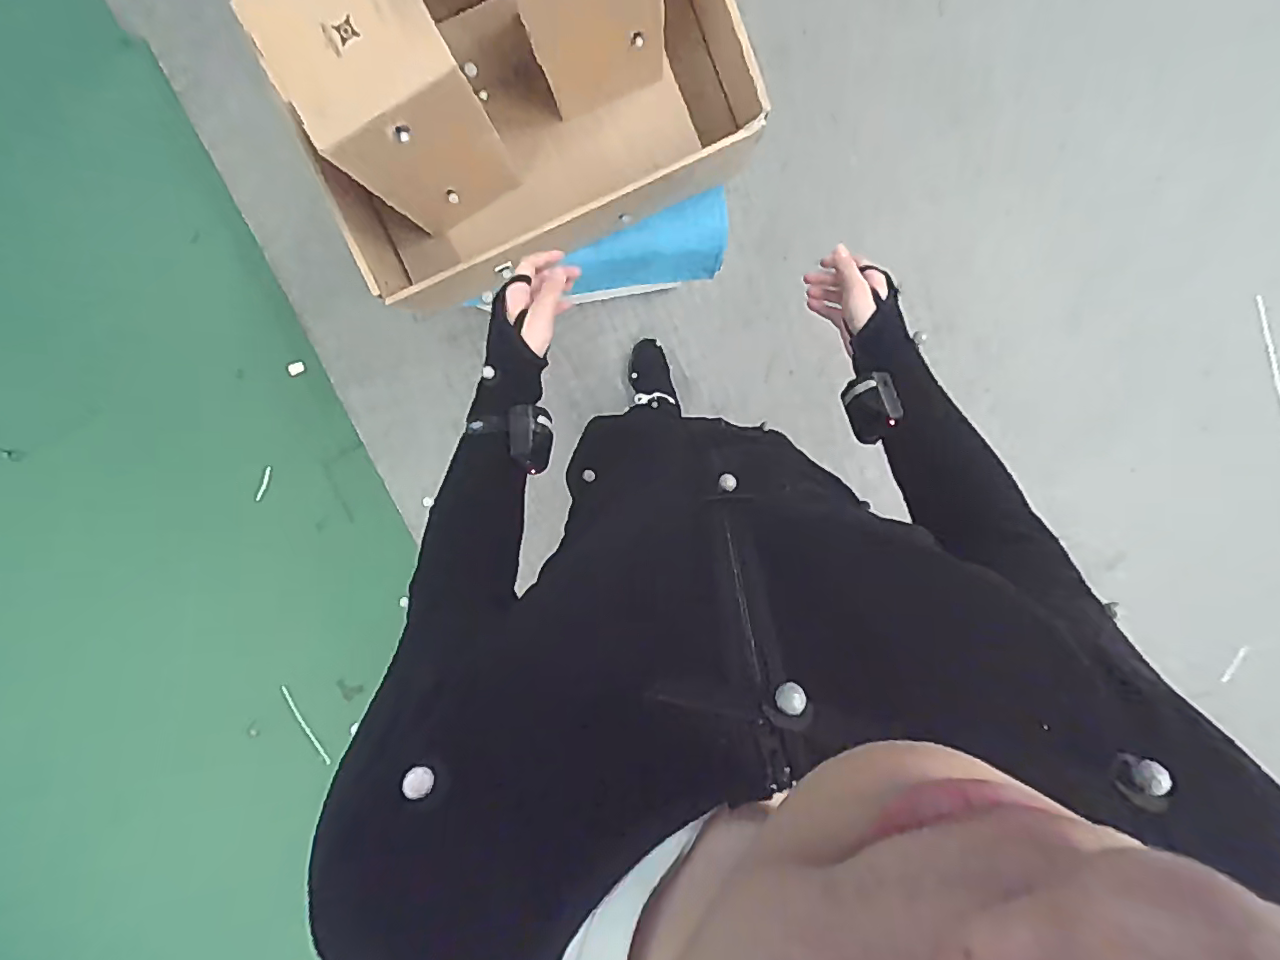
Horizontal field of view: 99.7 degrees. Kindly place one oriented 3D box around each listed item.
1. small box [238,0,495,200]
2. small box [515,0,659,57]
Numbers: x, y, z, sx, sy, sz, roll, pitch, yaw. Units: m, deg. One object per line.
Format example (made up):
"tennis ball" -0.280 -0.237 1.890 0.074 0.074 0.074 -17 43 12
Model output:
"small box" -0.300 -0.467 0.635 0.179 0.176 0.168 -28 98 4
"small box" -0.079 -0.626 0.602 0.179 0.176 0.168 -19 100 5
